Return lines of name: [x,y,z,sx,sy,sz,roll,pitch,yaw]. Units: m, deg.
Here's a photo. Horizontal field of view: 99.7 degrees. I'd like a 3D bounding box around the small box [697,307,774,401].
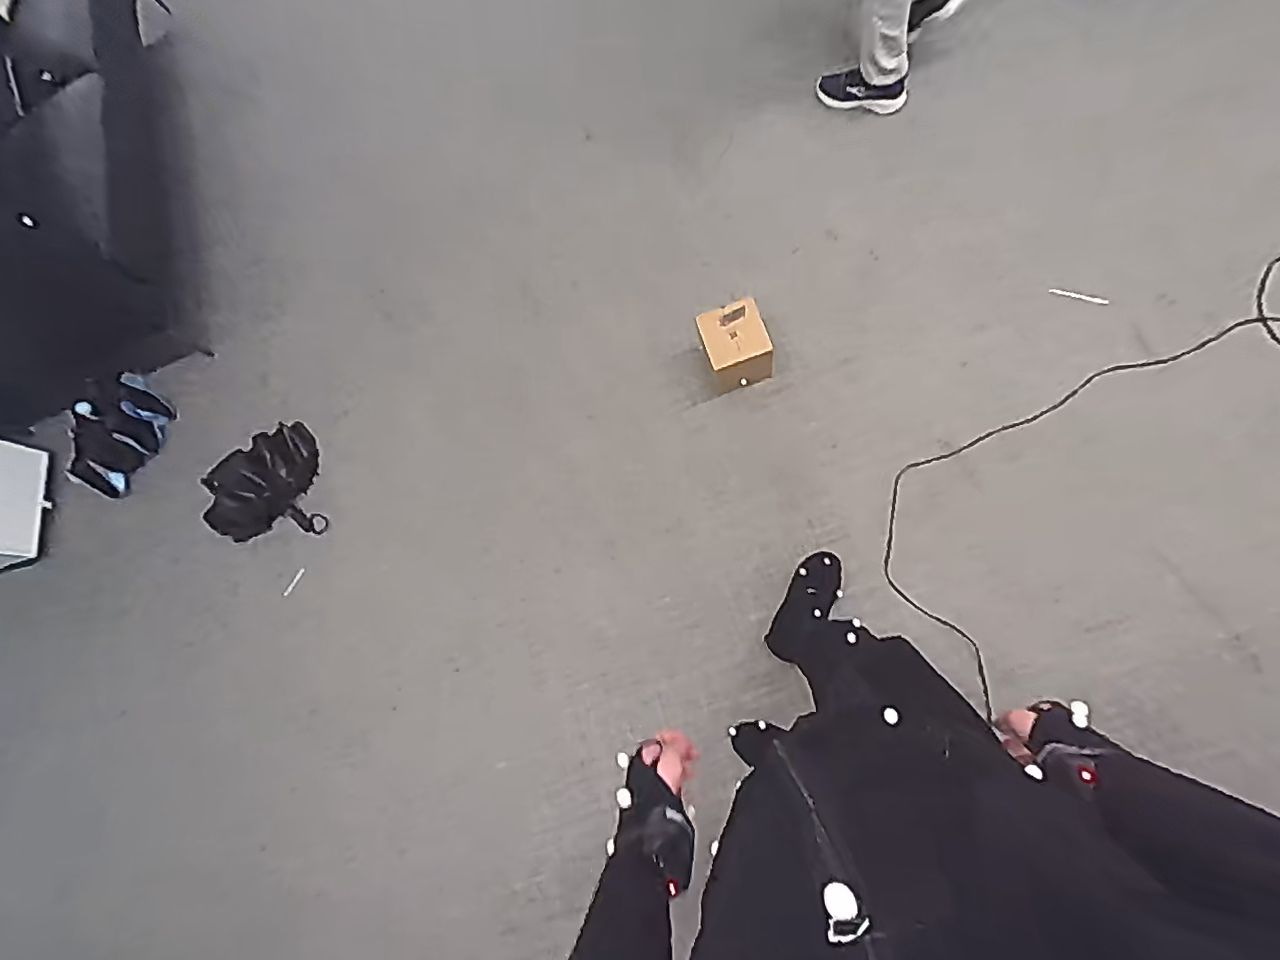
small box: [0.270,-0.351,1.534,0.168,0.176,0.179,-20,72,8]
